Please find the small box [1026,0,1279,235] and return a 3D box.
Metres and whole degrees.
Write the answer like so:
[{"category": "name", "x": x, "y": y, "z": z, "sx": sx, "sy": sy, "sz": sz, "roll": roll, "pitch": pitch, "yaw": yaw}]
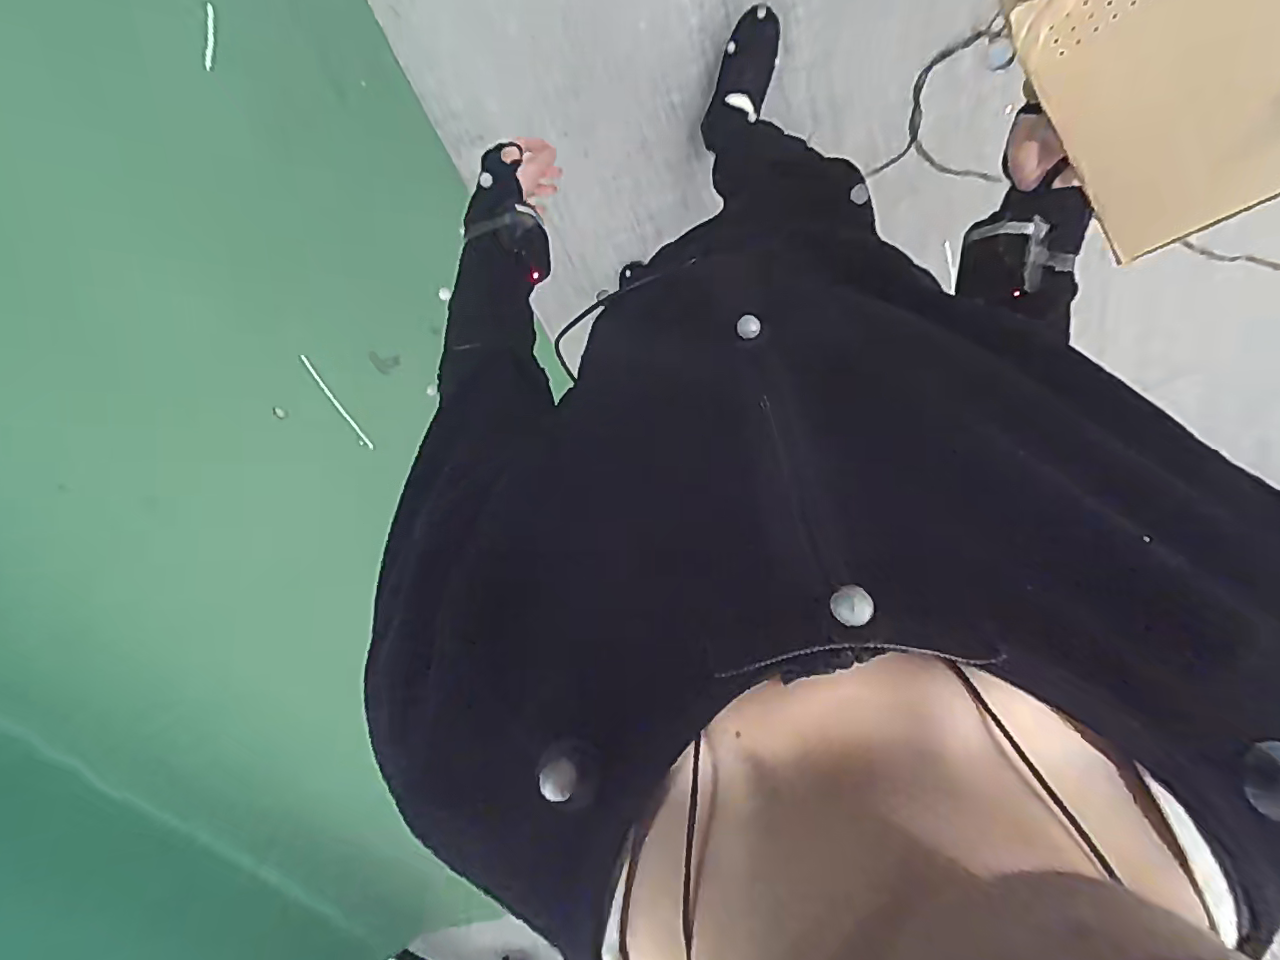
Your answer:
[{"category": "small box", "x": 0.296, "y": -0.266, "z": 0.247, "sx": 0.176, "sy": 0.168, "sz": 0.179, "roll": 35, "pitch": 145, "yaw": -27}]
